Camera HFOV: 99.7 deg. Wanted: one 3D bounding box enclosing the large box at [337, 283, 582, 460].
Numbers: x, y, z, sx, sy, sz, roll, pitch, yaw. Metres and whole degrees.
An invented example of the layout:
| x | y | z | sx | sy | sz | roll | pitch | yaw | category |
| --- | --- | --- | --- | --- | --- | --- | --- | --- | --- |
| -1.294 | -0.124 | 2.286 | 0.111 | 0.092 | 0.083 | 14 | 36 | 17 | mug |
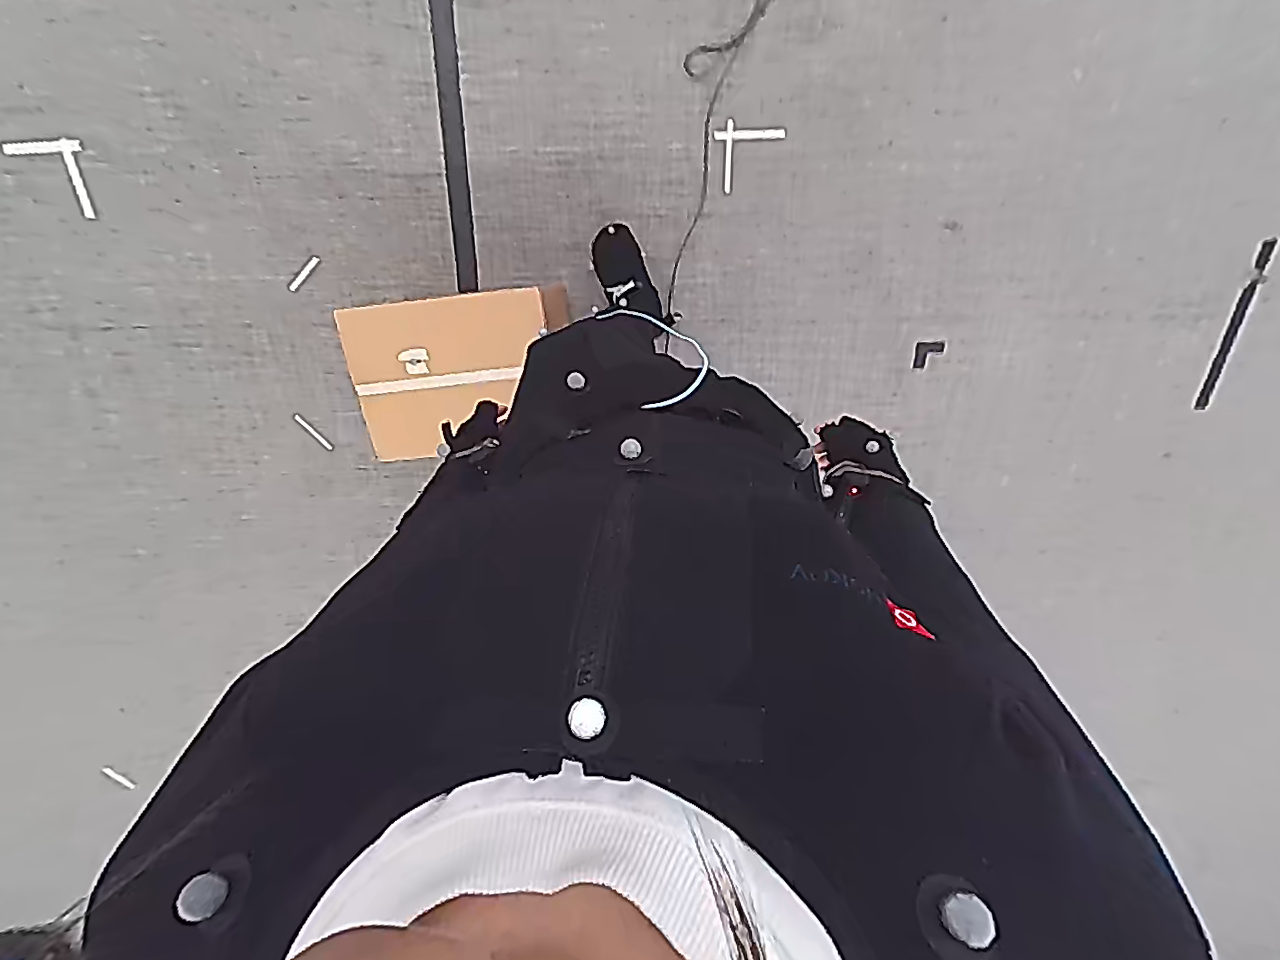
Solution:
| x | y | z | sx | sy | sz | roll | pitch | yaw | category |
| --- | --- | --- | --- | --- | --- | --- | --- | --- | --- |
| -0.367 | -0.256 | 1.217 | 0.408 | 0.320 | 0.320 | -5 | 110 | 4 | large box |
